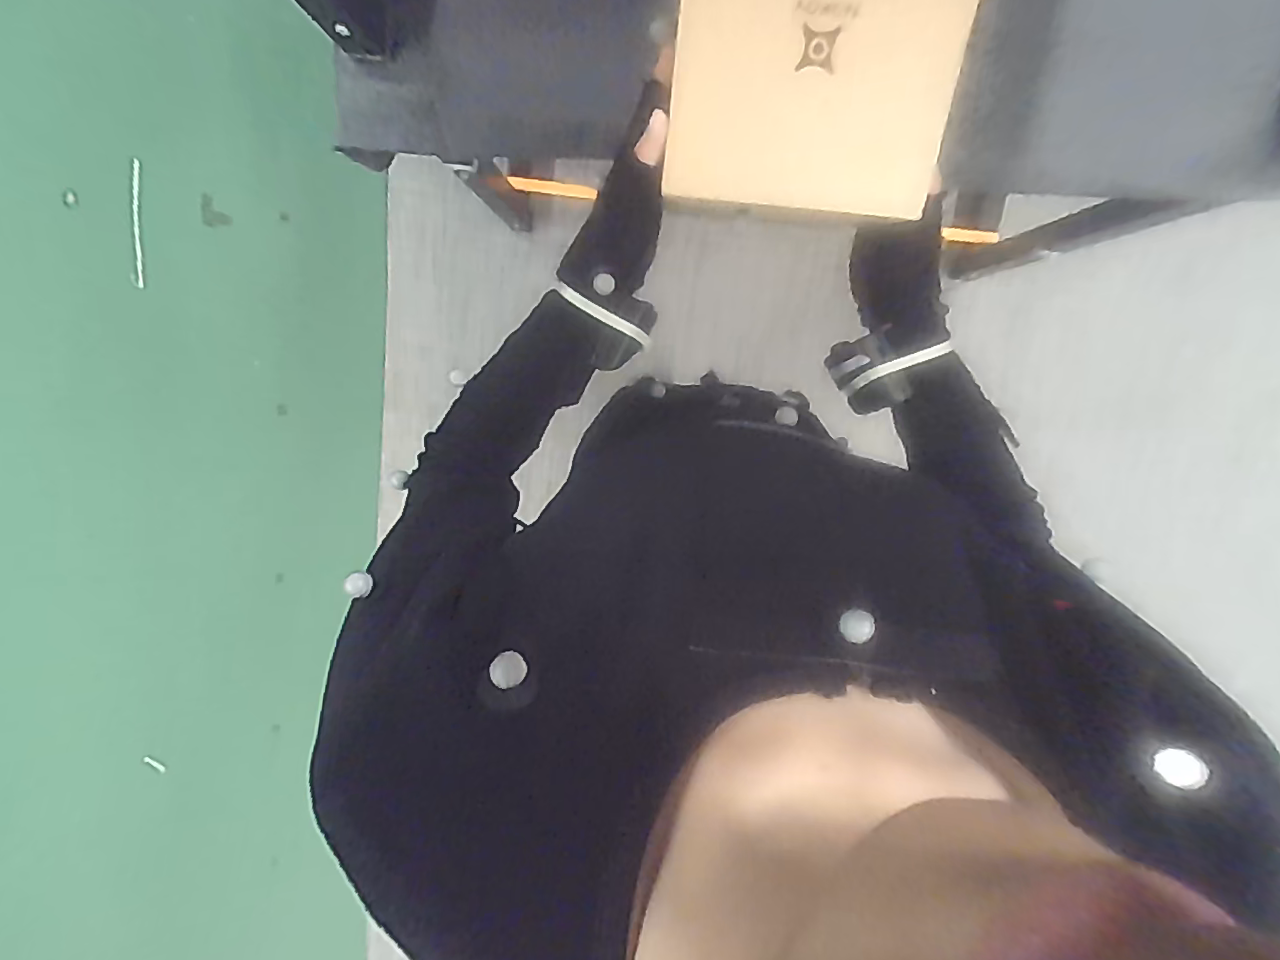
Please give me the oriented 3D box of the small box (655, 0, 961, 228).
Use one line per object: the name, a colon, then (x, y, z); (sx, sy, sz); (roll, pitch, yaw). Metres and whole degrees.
small box: (0.104, -0.288, 0.391); (0.168, 0.176, 0.179); (6, 110, 1)
